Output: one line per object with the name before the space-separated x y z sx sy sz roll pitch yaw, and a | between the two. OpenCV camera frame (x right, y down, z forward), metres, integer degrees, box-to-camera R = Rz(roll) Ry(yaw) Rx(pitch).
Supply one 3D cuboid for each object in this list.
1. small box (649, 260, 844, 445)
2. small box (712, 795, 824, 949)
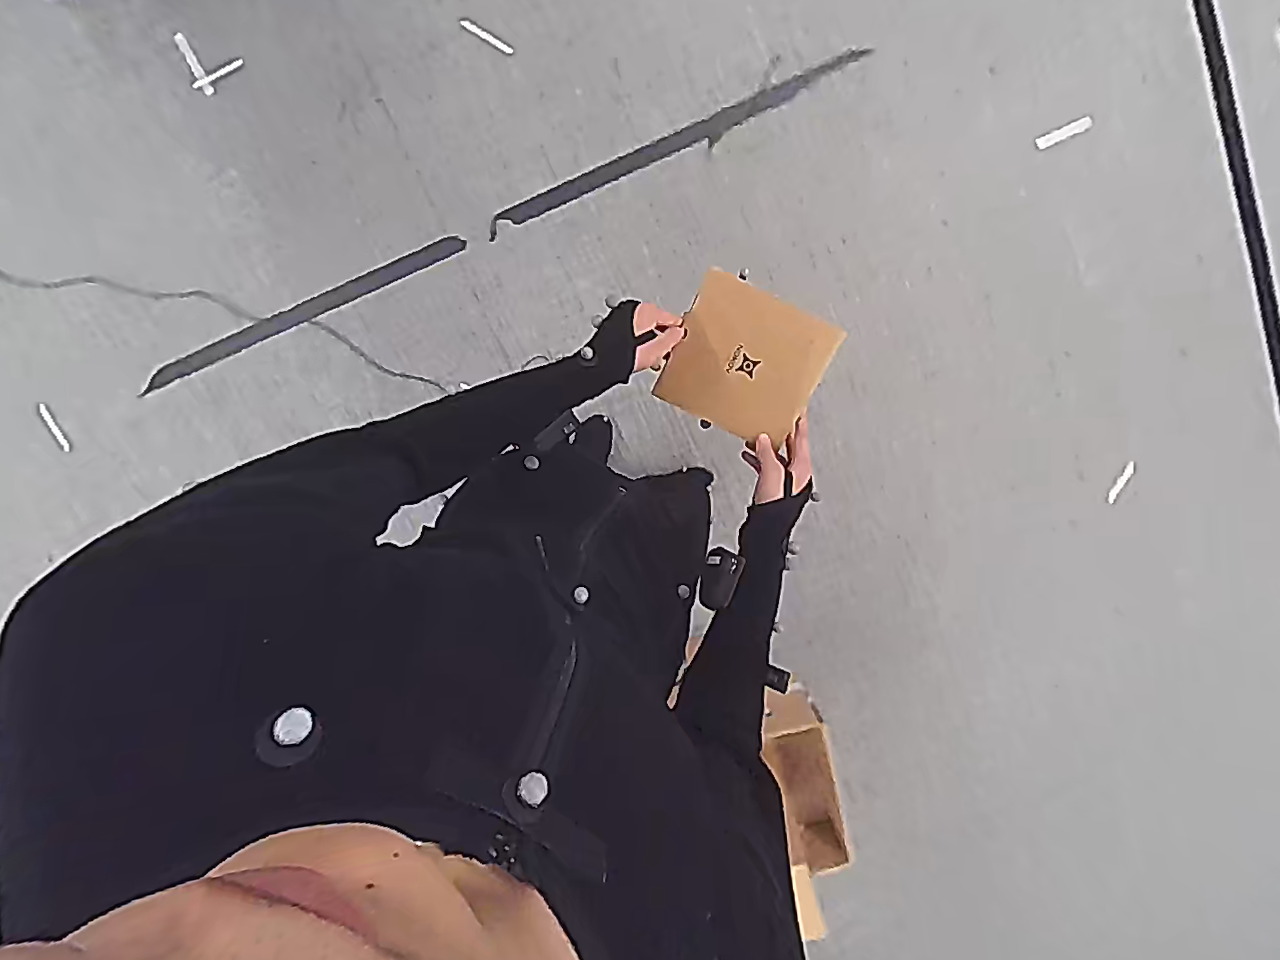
small box | 0.135 -0.171 0.708 0.179 0.176 0.168 26 111 2
small box | 0.253 0.789 1.100 0.168 0.176 0.179 -17 102 4
